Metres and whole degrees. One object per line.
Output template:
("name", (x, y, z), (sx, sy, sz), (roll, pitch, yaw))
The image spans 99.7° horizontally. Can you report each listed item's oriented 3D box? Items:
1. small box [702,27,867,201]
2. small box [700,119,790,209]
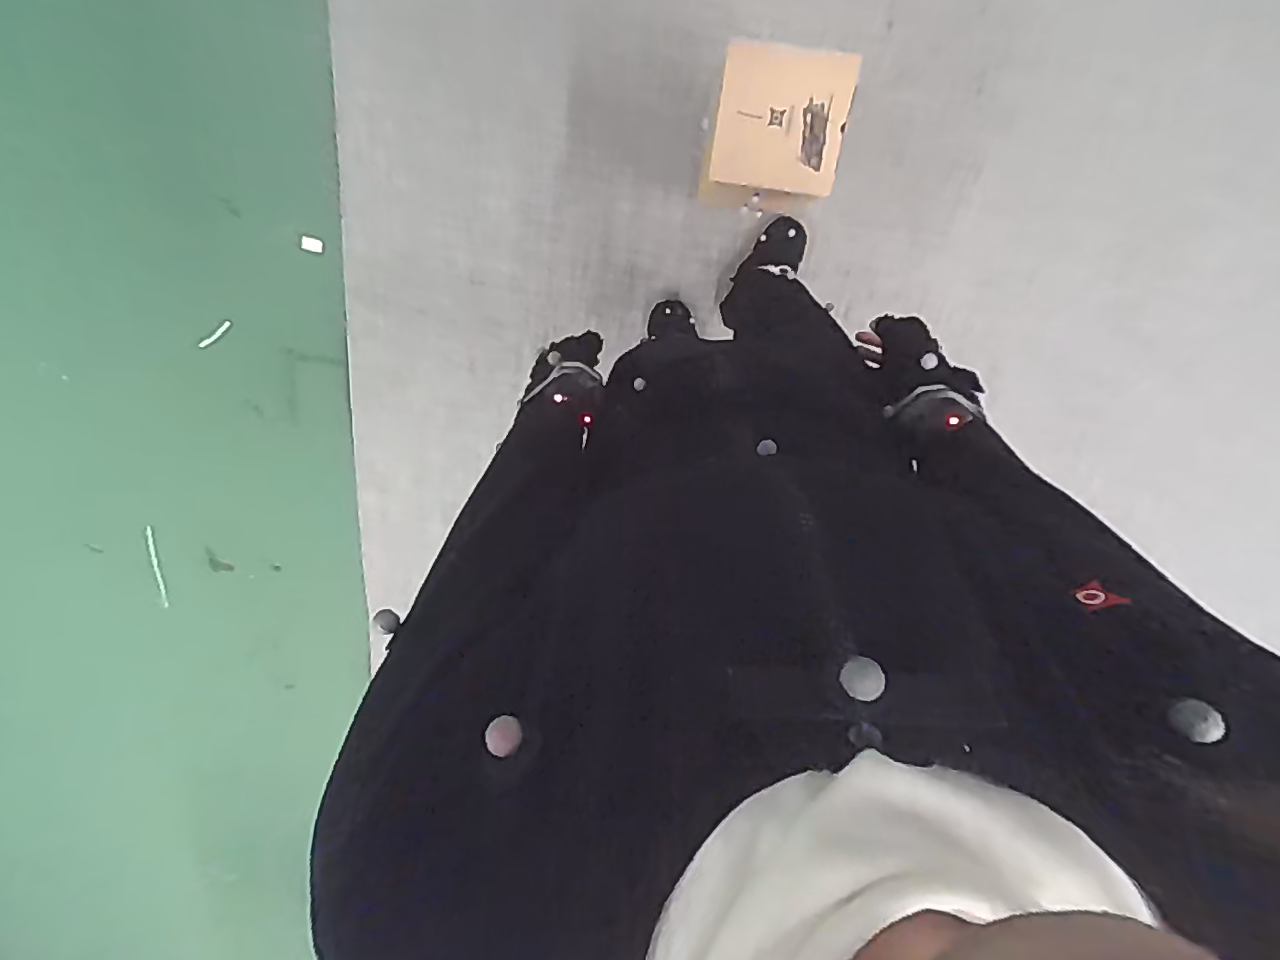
("small box", (0.197, -0.519, 0.794), (0.179, 0.176, 0.168), (11, 112, -1))
("small box", (0.223, -0.653, 1.096), (0.179, 0.176, 0.168), (9, 114, 2))
